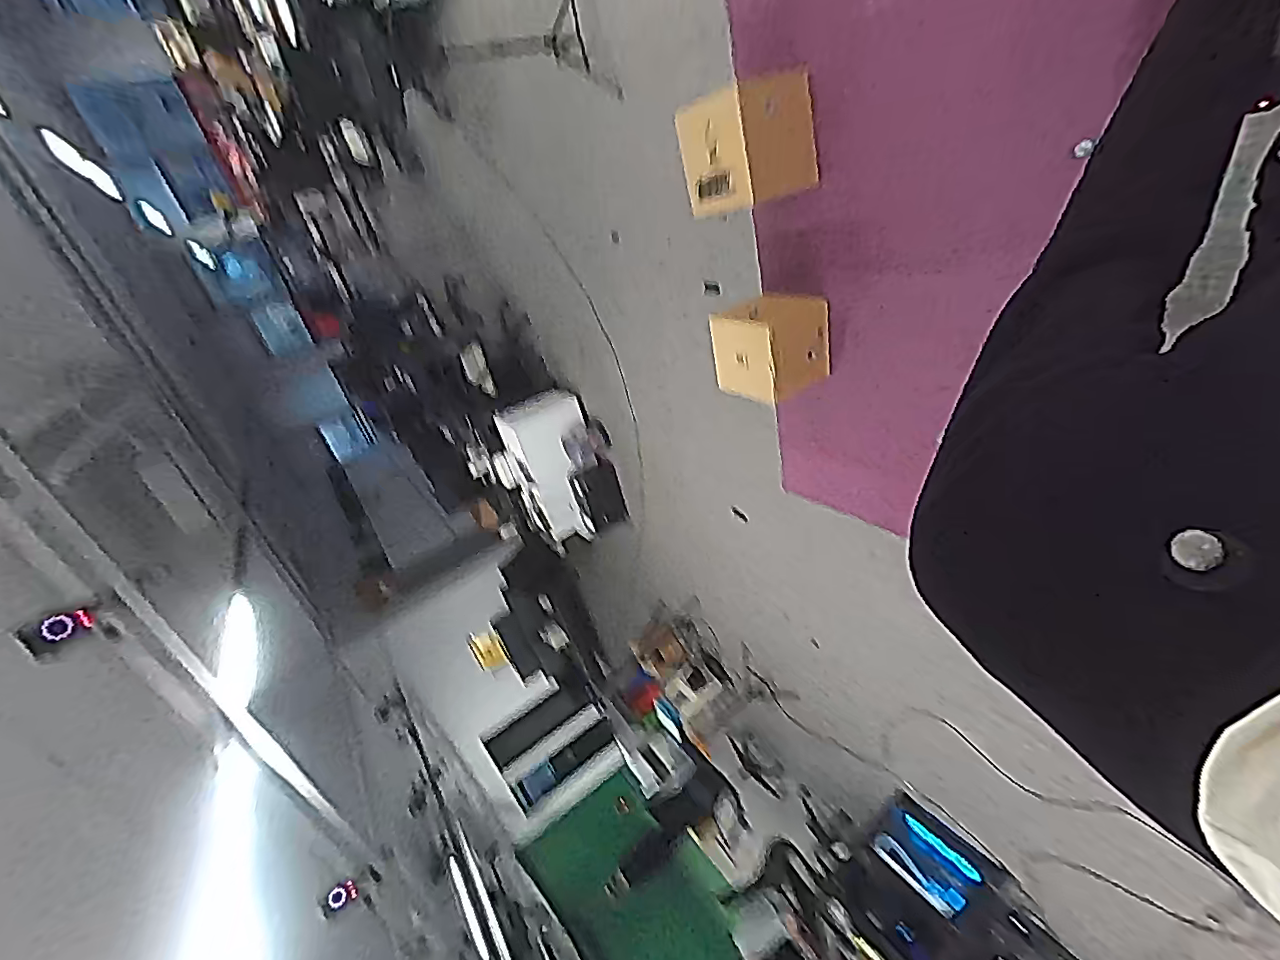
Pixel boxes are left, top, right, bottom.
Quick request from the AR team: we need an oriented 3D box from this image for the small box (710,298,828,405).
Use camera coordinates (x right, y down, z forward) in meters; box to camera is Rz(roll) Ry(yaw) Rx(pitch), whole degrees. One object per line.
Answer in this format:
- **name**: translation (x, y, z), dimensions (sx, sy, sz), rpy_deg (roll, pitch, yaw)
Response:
- **small box**: translation (0.278, -0.283, 1.159), dimensions (0.179, 0.176, 0.168), rpy_deg (29, 141, 49)
